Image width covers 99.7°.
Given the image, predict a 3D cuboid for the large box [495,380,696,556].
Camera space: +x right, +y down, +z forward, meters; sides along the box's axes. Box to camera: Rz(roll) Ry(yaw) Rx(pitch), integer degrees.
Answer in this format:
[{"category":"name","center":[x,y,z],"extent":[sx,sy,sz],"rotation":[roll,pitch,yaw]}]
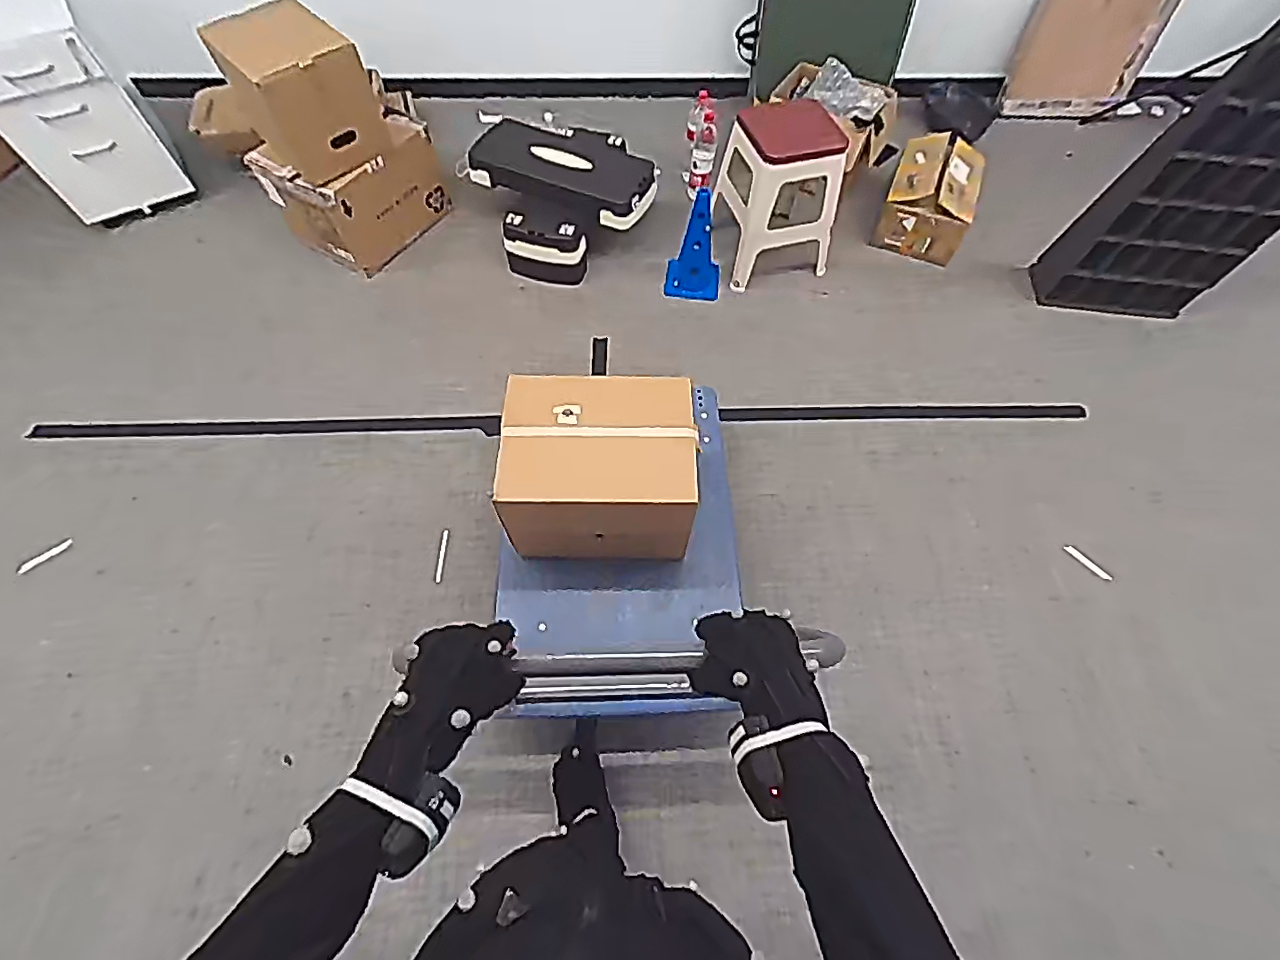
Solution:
[{"category":"large box","center":[-0.088,-0.017,1.263],"extent":[0.408,0.320,0.320],"rotation":[0,61,0]}]
